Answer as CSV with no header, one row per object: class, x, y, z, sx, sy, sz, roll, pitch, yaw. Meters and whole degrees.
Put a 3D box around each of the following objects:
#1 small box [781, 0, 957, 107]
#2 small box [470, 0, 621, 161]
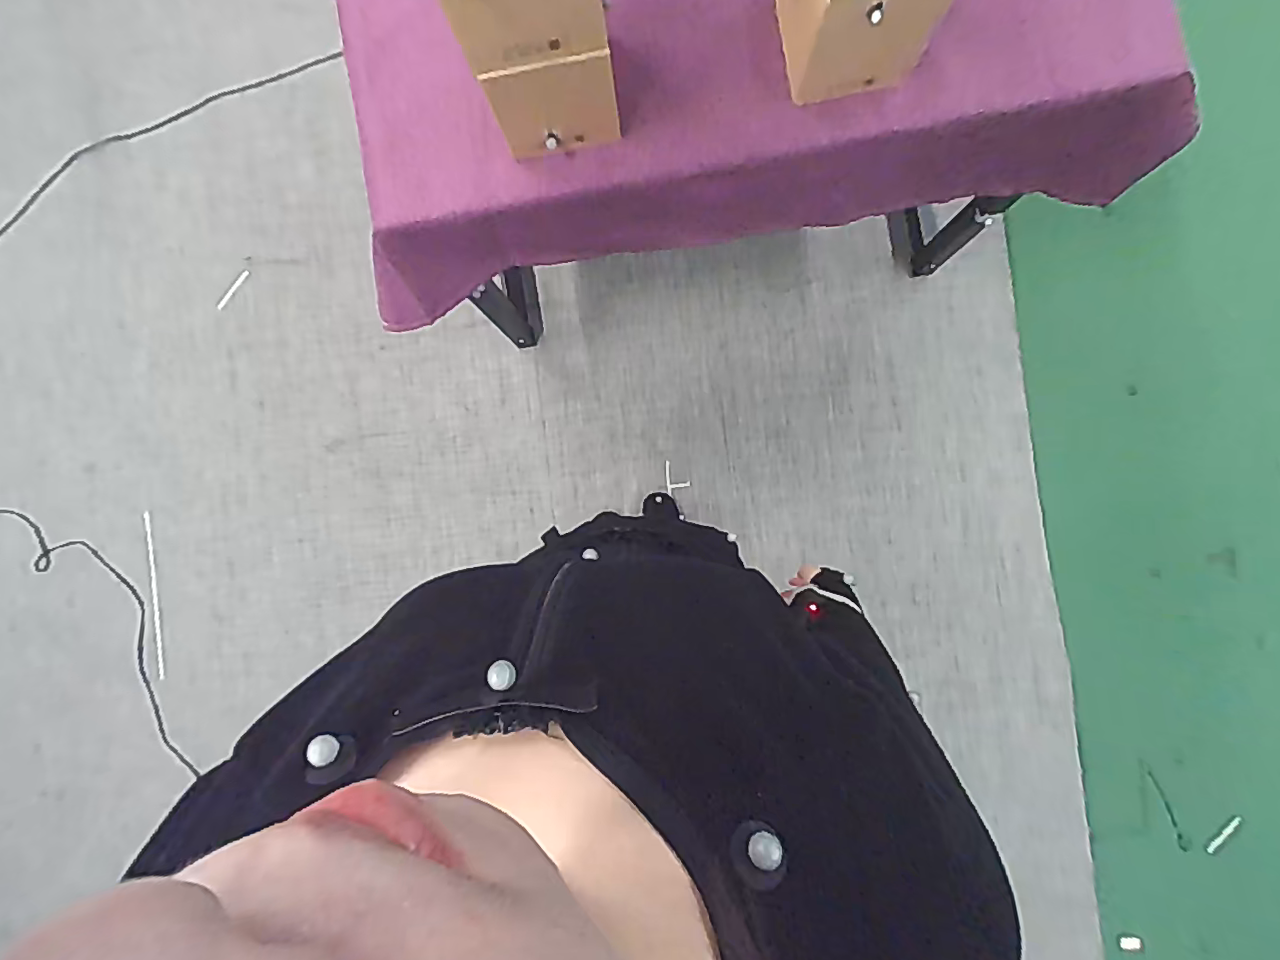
small box,0.292,-0.646,0.715,0.168,0.176,0.179,-9,87,4
small box,-0.122,-0.577,0.735,0.168,0.176,0.179,-8,88,3
